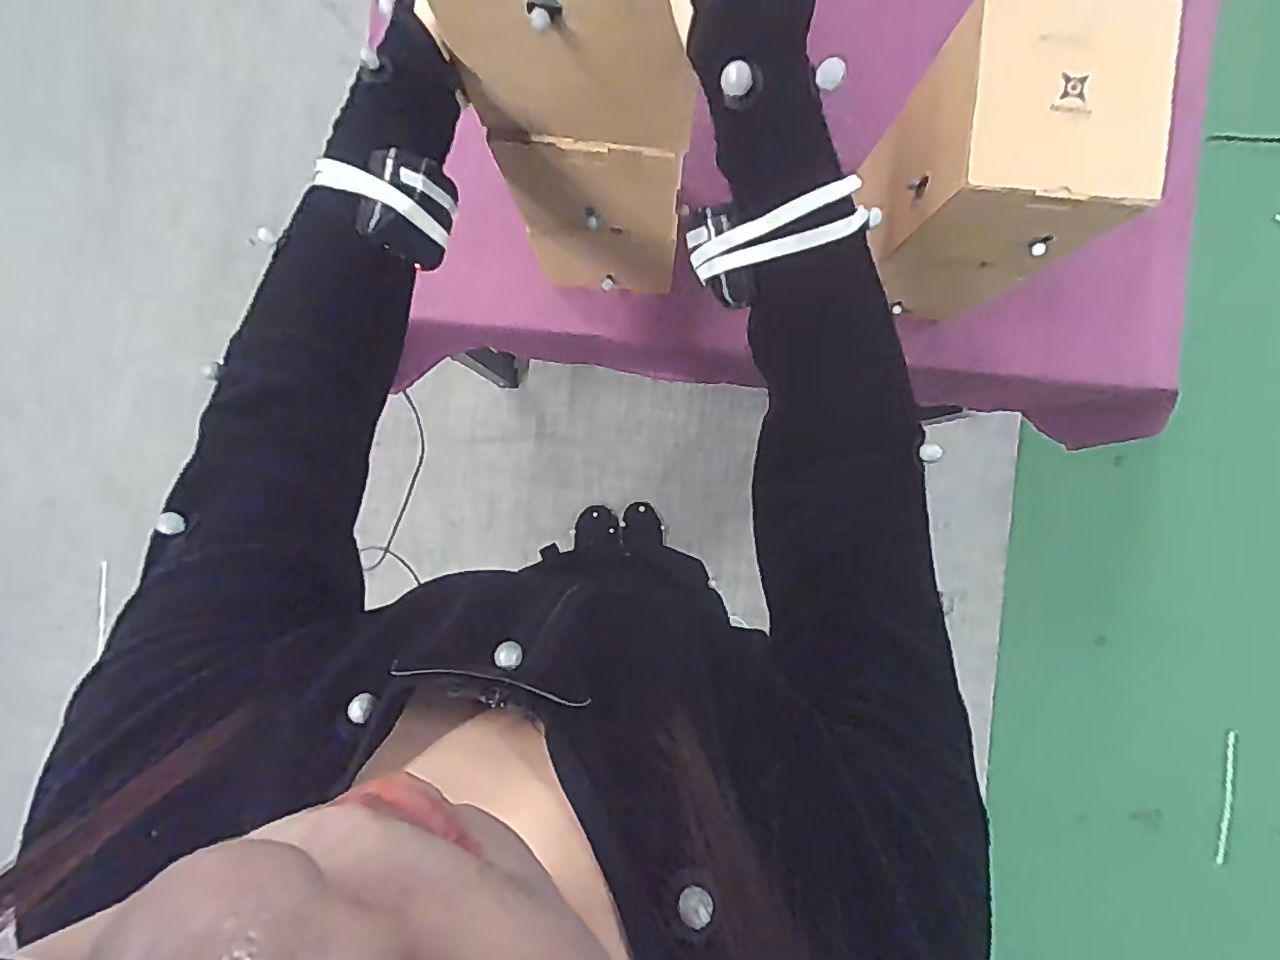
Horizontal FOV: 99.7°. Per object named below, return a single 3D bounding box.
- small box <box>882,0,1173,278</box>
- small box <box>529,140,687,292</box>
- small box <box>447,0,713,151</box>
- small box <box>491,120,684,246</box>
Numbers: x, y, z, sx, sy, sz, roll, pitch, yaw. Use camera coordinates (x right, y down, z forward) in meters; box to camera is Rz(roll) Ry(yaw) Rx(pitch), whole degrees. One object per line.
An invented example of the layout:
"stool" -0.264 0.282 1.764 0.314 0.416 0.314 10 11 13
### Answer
"small box" 0.361 -0.320 0.540 0.168 0.176 0.179 6 90 0
"small box" -0.038 -0.358 0.706 0.179 0.176 0.168 4 89 0
"small box" -0.033 -0.364 0.377 0.179 0.176 0.168 8 90 0
"small box" -0.038 -0.363 0.541 0.168 0.176 0.179 6 90 1
